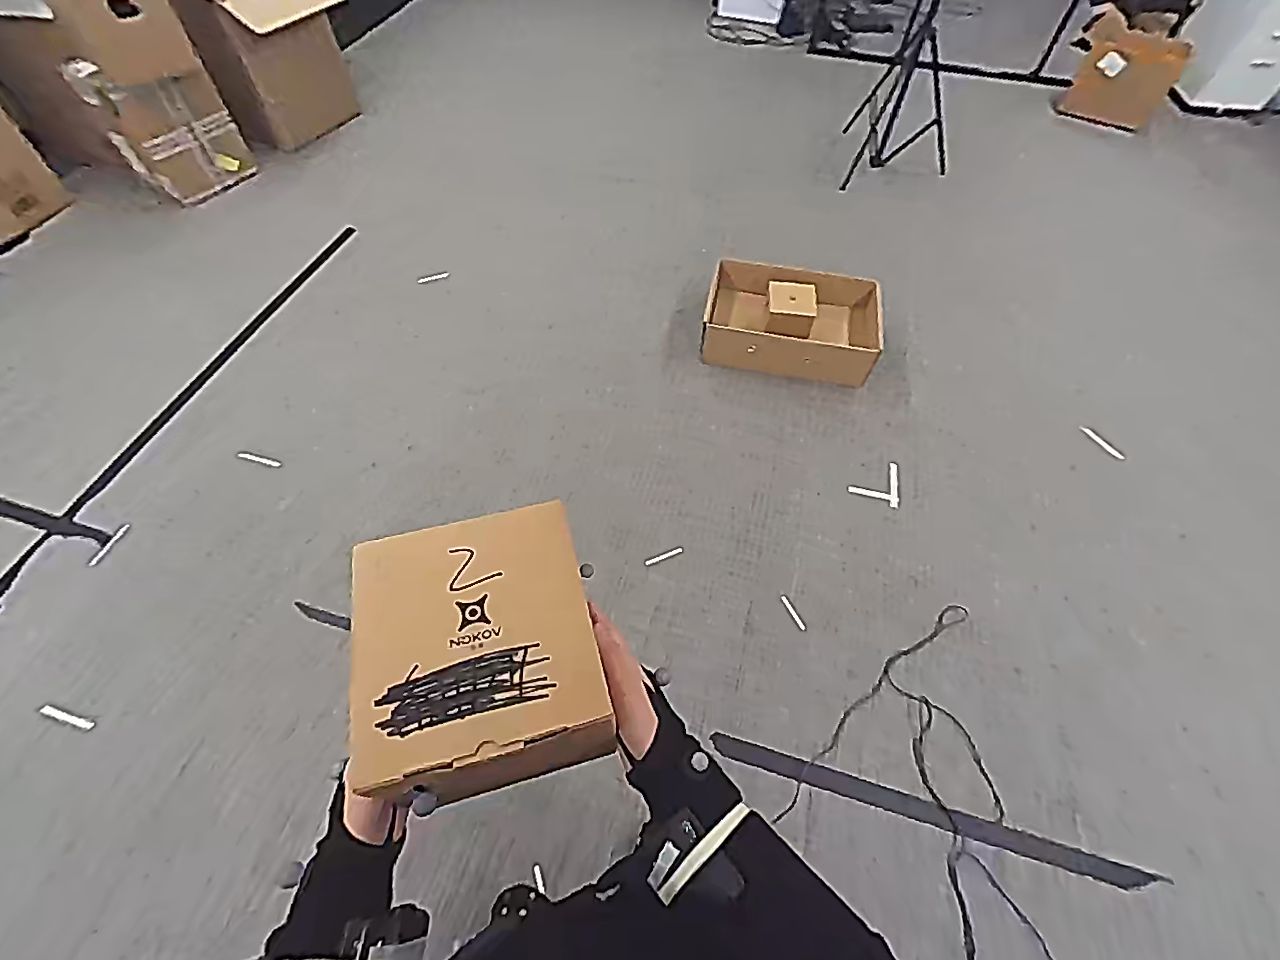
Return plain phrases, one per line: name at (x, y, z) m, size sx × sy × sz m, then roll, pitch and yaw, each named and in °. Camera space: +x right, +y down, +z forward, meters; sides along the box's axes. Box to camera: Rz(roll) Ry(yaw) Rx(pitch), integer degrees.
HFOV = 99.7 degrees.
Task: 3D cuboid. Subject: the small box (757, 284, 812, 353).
small box at (0.532, -0.600, 2.012) m, size 0.168 × 0.176 × 0.179 m, roll 6°, pitch 58°, yaw 4°
